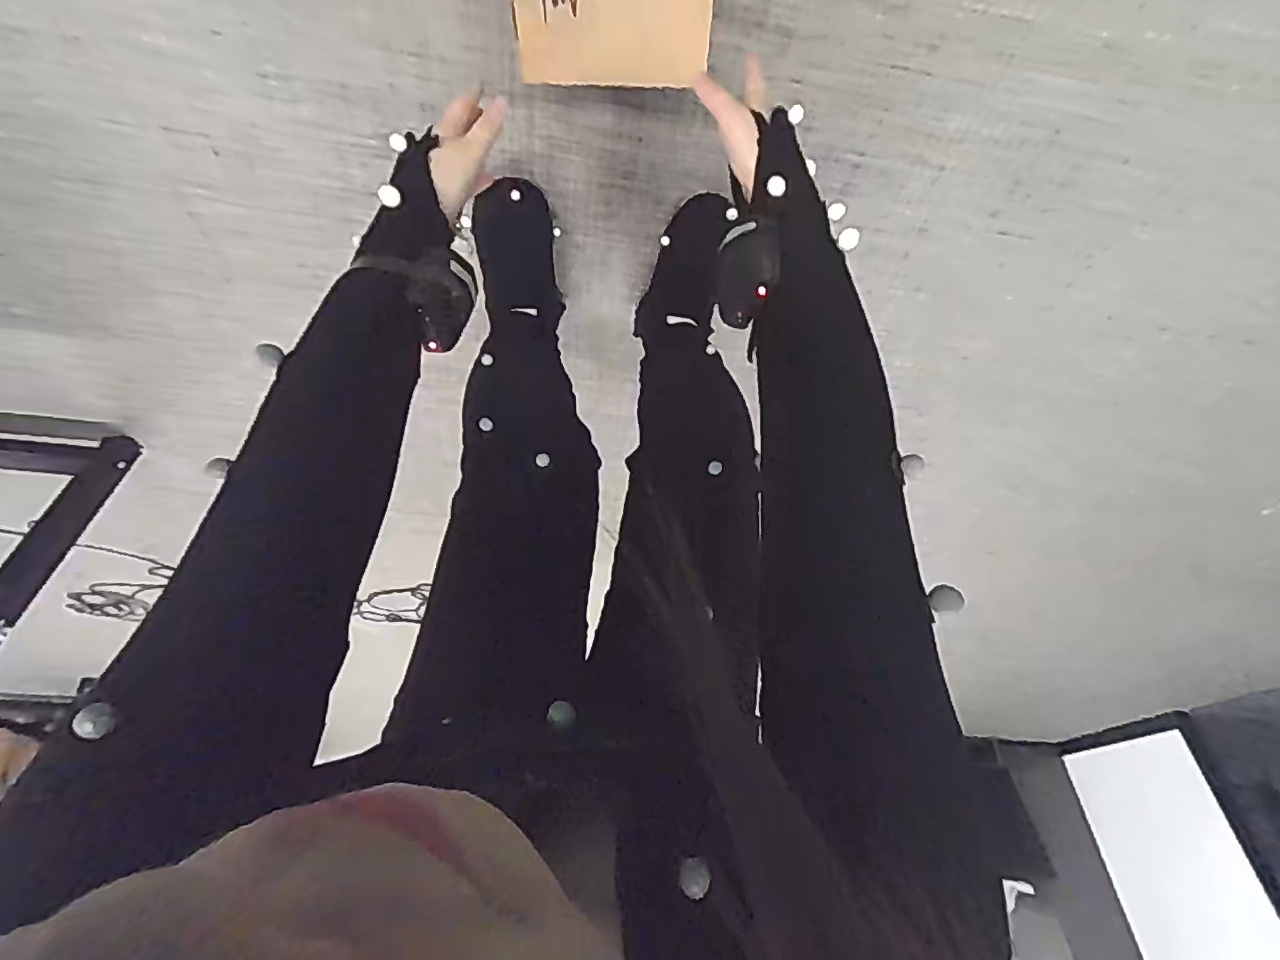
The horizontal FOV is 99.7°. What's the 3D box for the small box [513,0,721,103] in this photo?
[{"bbox_3d":[-0.017,-0.468,0.488,0.179,0.176,0.168,1,144,0],"label":"small box"}]
